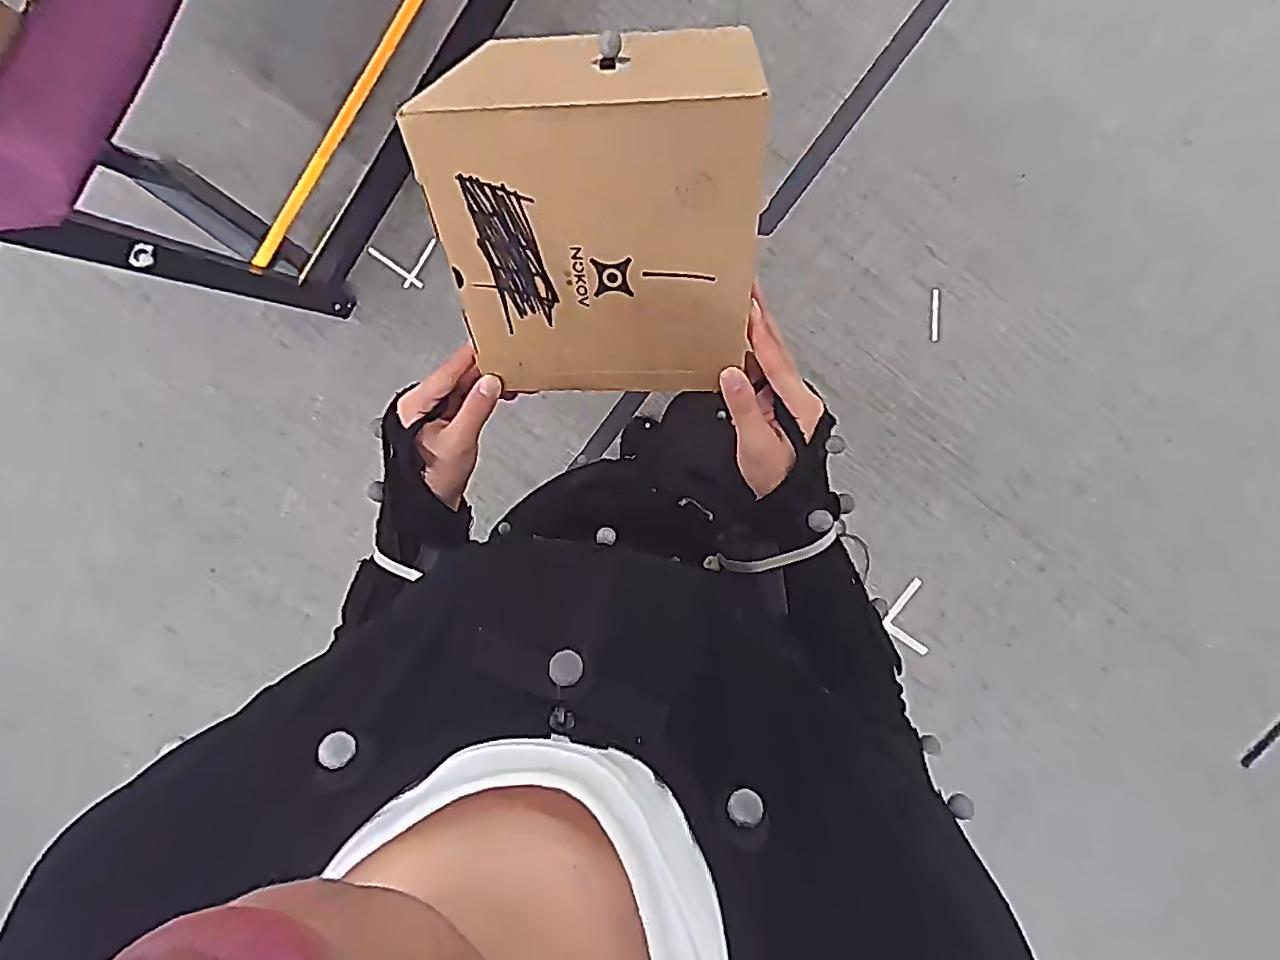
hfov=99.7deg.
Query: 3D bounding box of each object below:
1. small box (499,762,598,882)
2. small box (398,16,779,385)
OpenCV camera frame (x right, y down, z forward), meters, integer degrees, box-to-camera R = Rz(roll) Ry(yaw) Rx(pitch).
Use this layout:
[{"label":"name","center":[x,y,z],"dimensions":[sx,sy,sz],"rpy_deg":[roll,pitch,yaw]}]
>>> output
[{"label":"small box","center":[-0.230,0.877,1.410],"dimensions":[0.179,0.176,0.168],"rpy_deg":[42,98,-5]},{"label":"small box","center":[-0.017,-0.179,0.350],"dimensions":[0.179,0.176,0.168],"rpy_deg":[0,138,5]}]
